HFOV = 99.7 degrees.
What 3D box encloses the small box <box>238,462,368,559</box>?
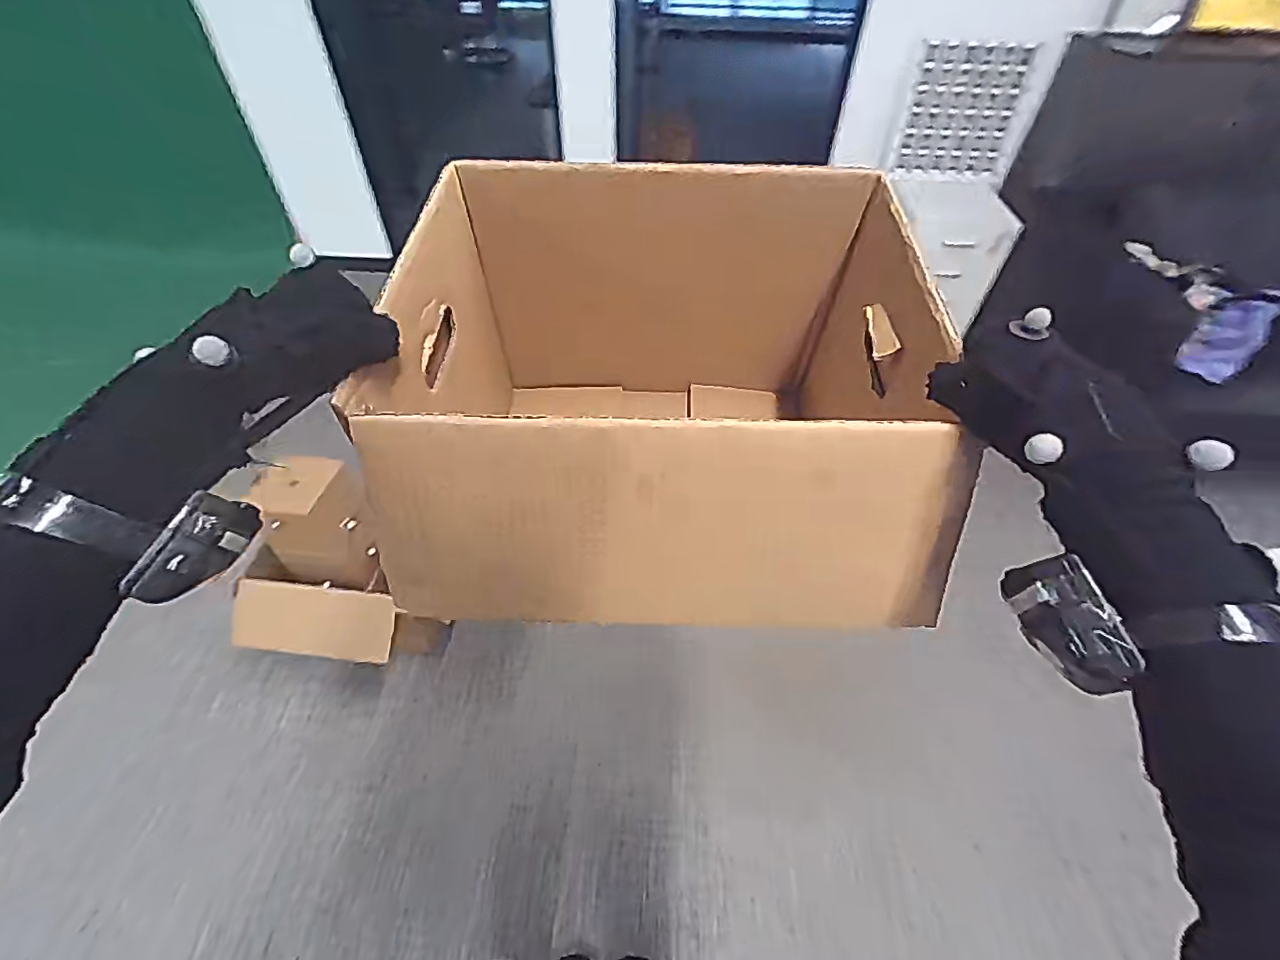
[{"bbox_3d":[-0.802,0.075,1.308,0.179,0.176,0.168,5,49,5],"label":"small box"}]
